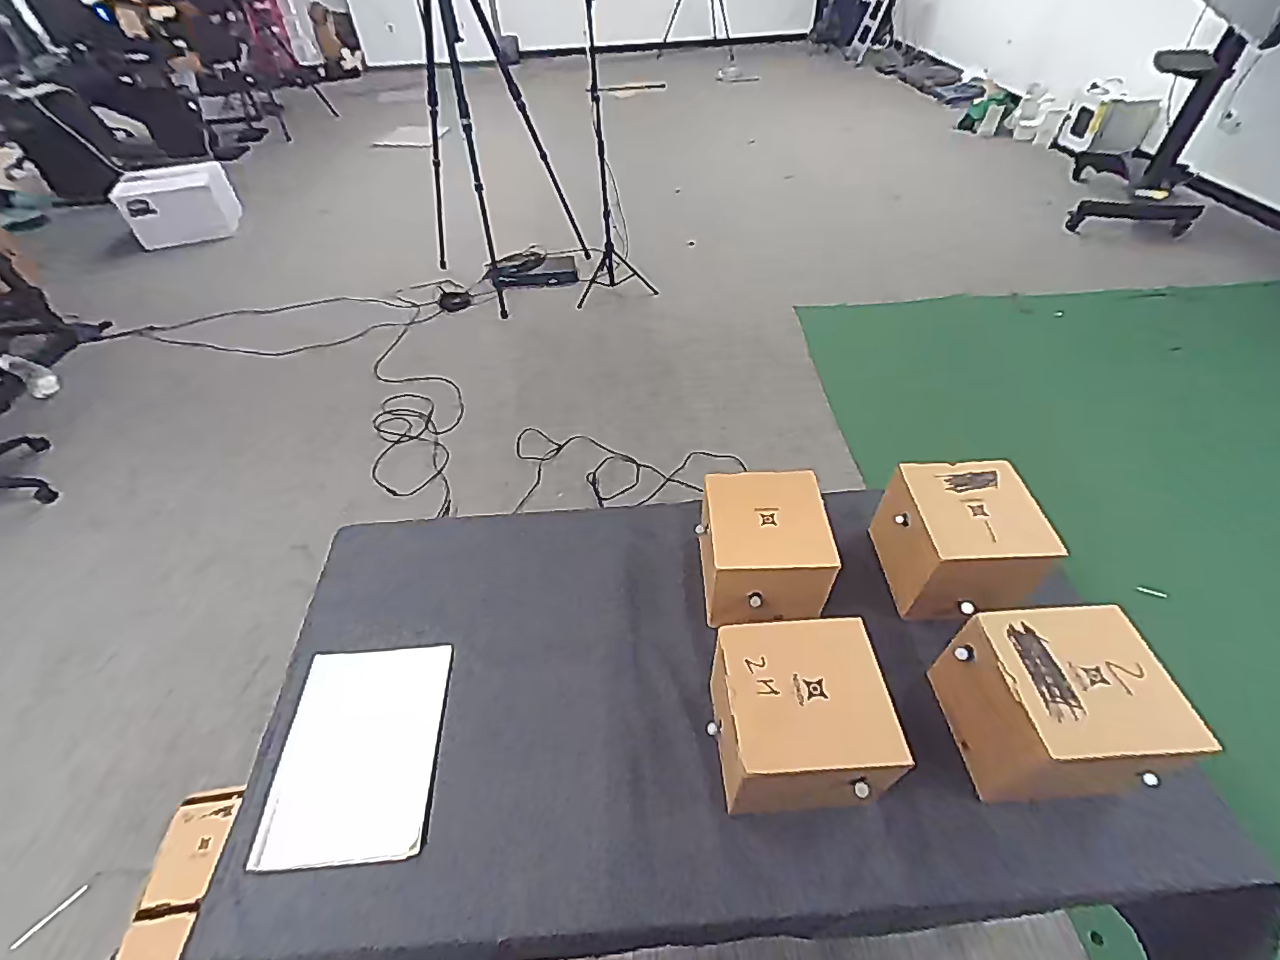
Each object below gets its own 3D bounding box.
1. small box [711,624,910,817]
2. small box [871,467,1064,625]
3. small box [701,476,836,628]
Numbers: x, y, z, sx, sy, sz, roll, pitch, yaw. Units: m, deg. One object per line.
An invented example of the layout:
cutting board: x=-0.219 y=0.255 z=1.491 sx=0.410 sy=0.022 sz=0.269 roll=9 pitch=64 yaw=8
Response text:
small box: x=0.185 y=0.290 z=0.651 sx=0.179 sy=0.176 sz=0.168 roll=-3 pitch=46 yaw=0
small box: x=0.471 y=0.100 z=0.817 sx=0.168 sy=0.176 sz=0.179 roll=-2 pitch=47 yaw=2
small box: x=0.182 y=0.114 z=0.822 sx=0.168 sy=0.176 sz=0.179 roll=-2 pitch=46 yaw=2
